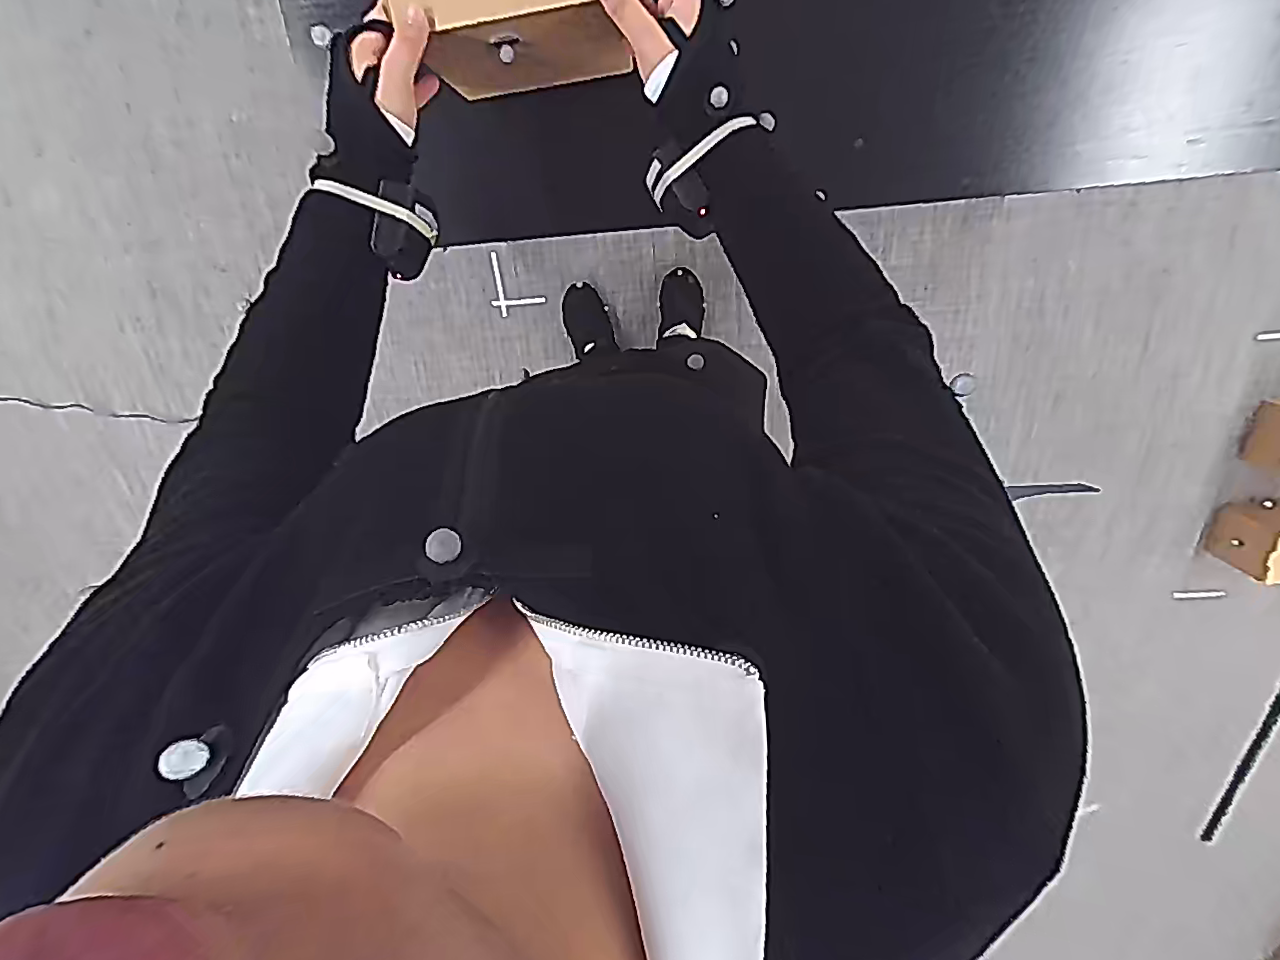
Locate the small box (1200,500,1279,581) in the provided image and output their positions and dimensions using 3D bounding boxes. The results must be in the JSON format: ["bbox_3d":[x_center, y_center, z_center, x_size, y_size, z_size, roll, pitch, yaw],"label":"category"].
[{"bbox_3d":[1.768,0.168,1.533,0.179,0.176,0.168,-6,113,4],"label":"small box"}]

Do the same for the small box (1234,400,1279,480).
[{"bbox_3d":[1.734,-0.103,1.412,0.168,0.176,0.179,-2,113,1],"label":"small box"}]

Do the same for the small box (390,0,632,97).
[{"bbox_3d":[-0.107,-0.452,0.458,0.179,0.176,0.168,-6,112,5],"label":"small box"}]
